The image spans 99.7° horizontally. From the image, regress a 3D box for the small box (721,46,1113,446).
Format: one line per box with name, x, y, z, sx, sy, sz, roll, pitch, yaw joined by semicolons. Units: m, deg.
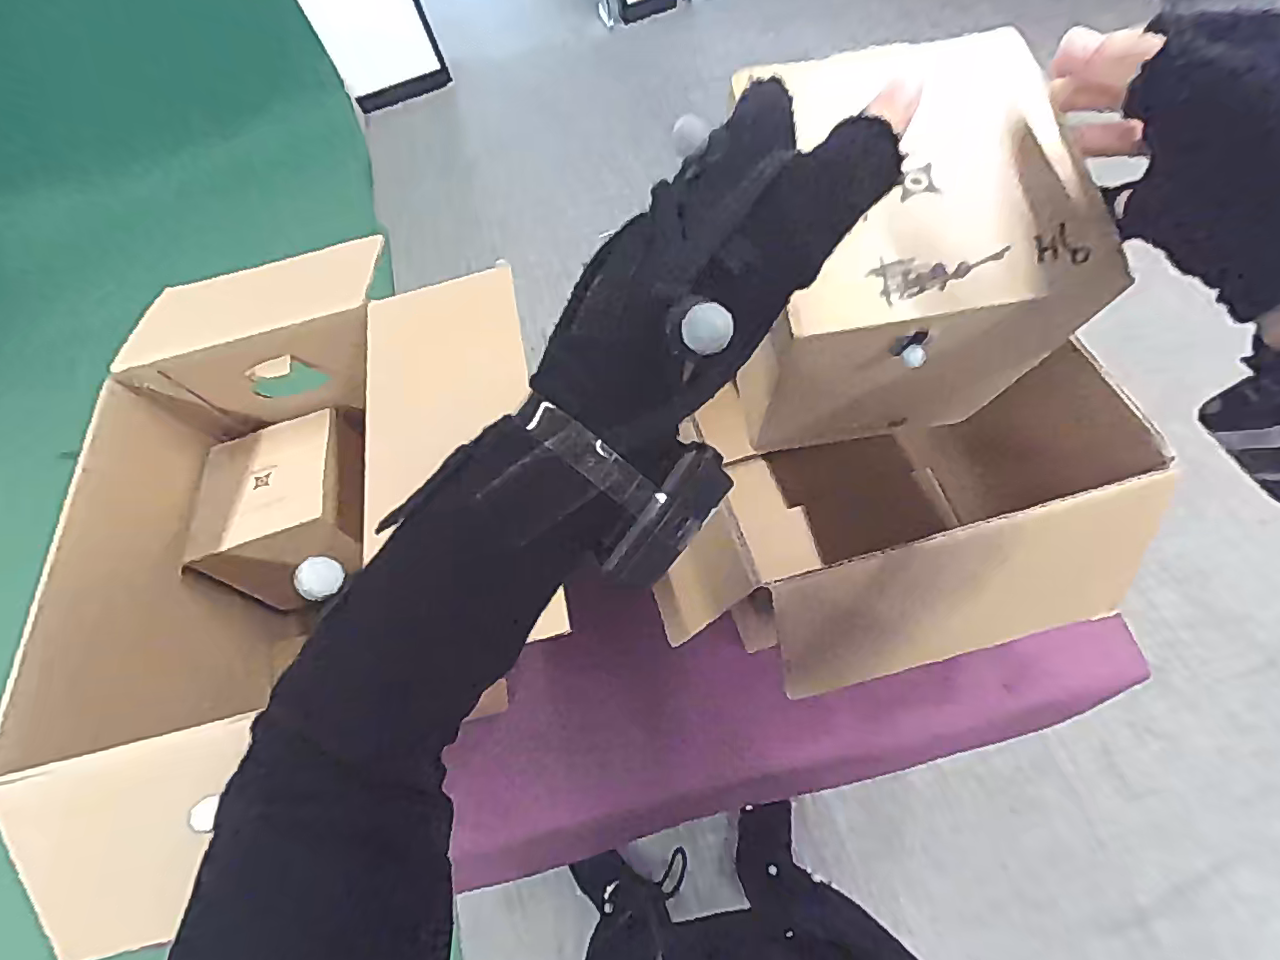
small box;0.153;-0.141;0.374;0.168;0.176;0.179;-9;72;3
